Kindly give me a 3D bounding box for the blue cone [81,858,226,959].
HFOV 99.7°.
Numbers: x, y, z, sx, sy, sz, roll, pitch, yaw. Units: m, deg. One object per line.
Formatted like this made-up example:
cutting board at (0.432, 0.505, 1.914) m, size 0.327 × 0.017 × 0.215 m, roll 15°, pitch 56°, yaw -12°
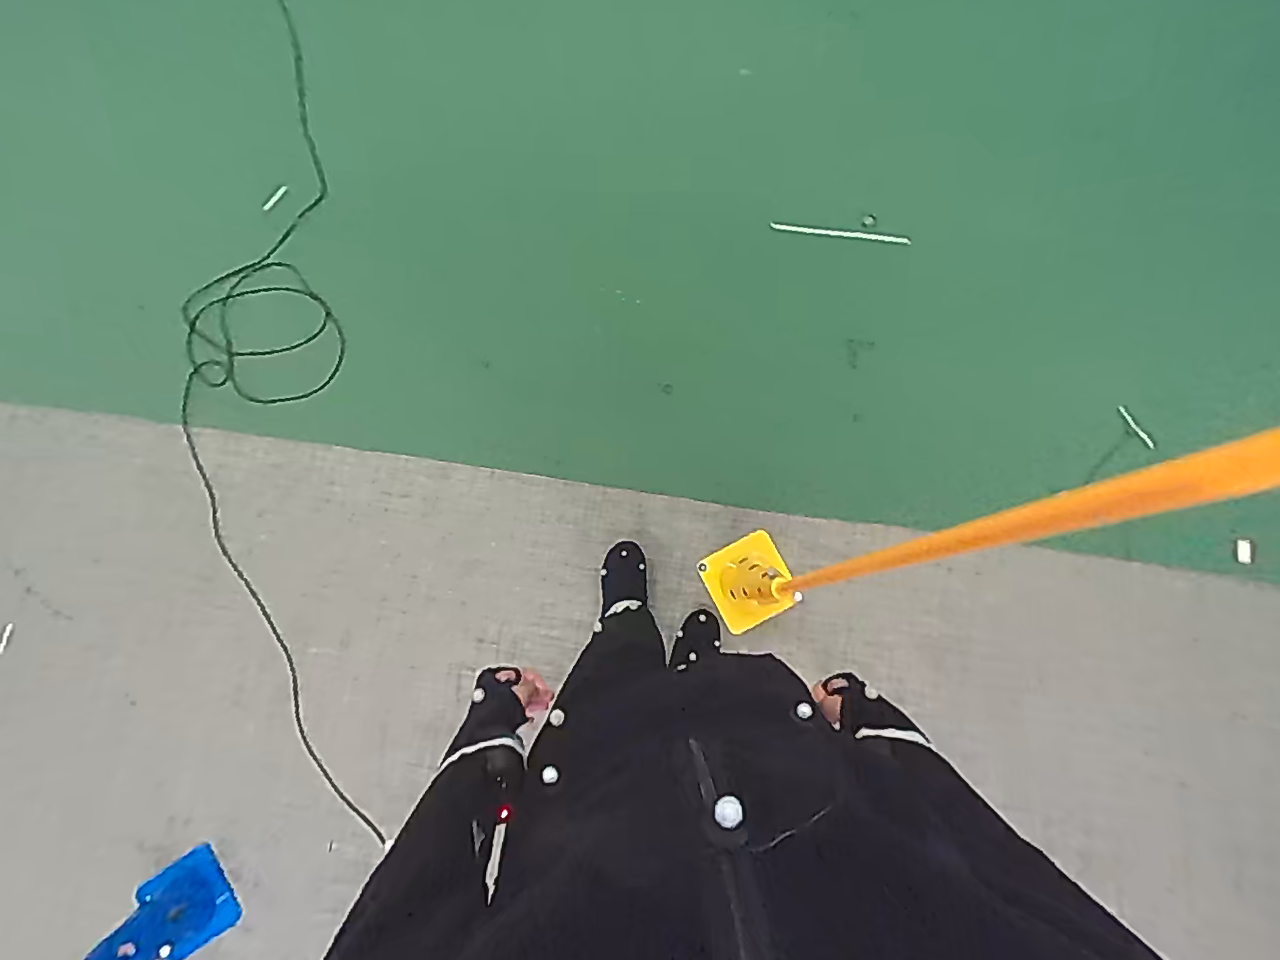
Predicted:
blue cone at (-1.070, 0.985, 1.082) m, size 0.193 × 0.380 × 0.192 m, roll -36°, pitch 83°, yaw -1°
